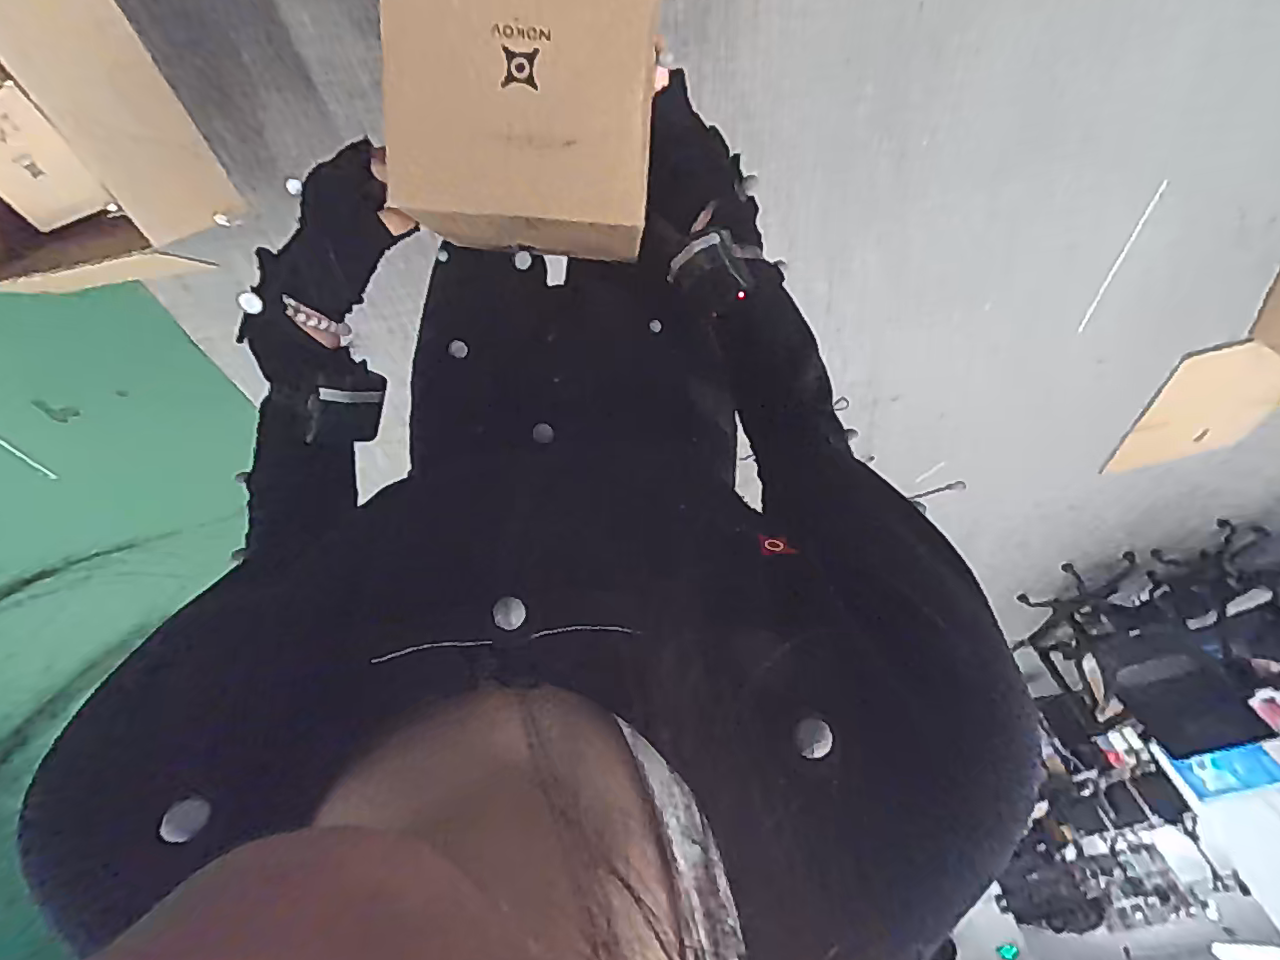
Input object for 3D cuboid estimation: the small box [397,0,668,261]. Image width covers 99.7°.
[{"bbox_3d":[-0.071,-0.276,0.414,0.168,0.176,0.179,2,106,-3],"label":"small box"}]
